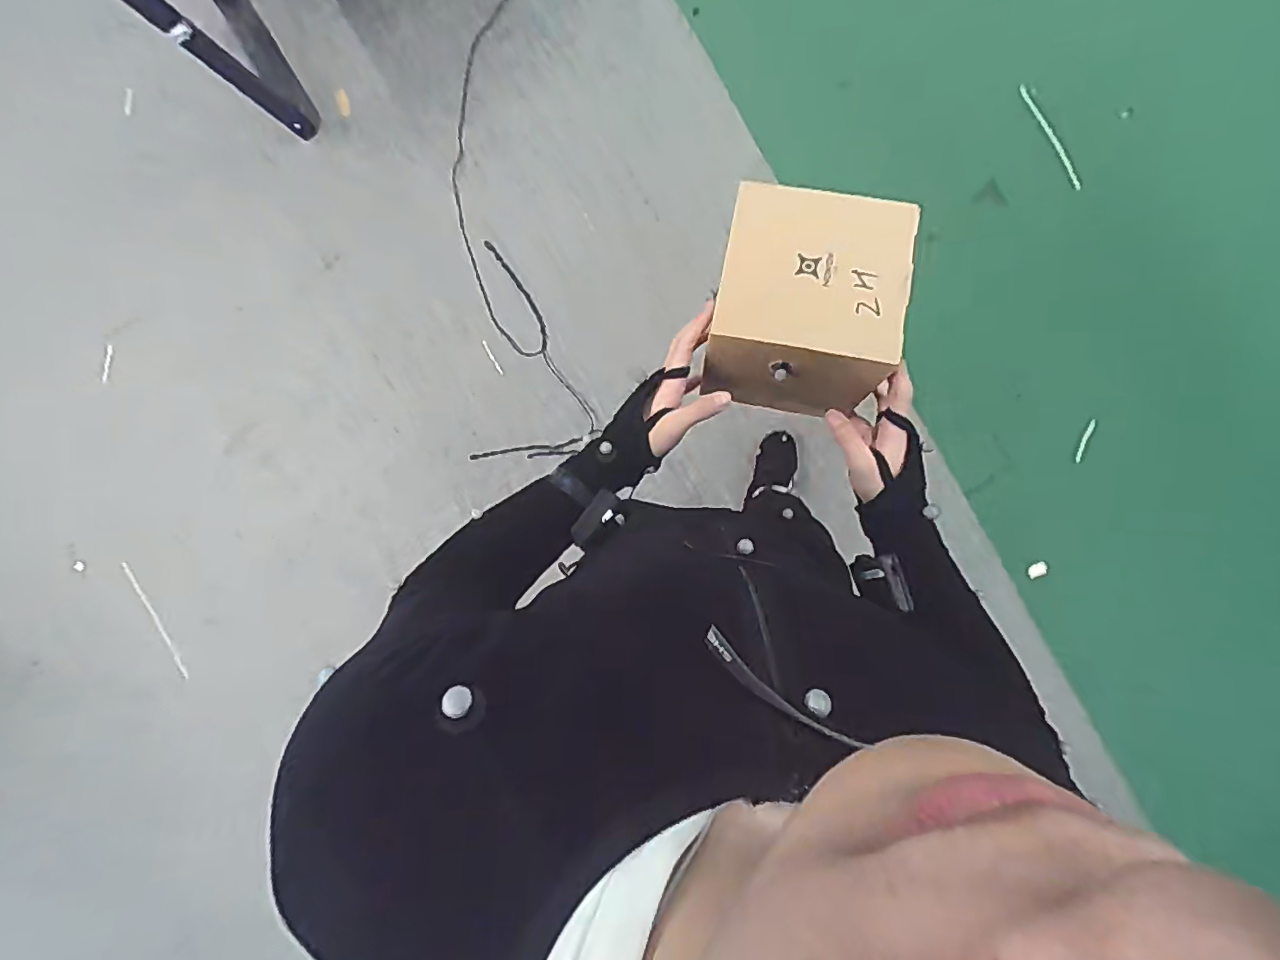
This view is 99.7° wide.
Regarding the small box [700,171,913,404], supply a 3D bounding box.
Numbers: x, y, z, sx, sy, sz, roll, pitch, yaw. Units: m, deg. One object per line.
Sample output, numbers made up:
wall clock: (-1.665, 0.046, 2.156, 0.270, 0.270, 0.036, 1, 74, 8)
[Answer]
small box: (0.164, -0.193, 0.583, 0.179, 0.176, 0.168, 10, 80, 5)
